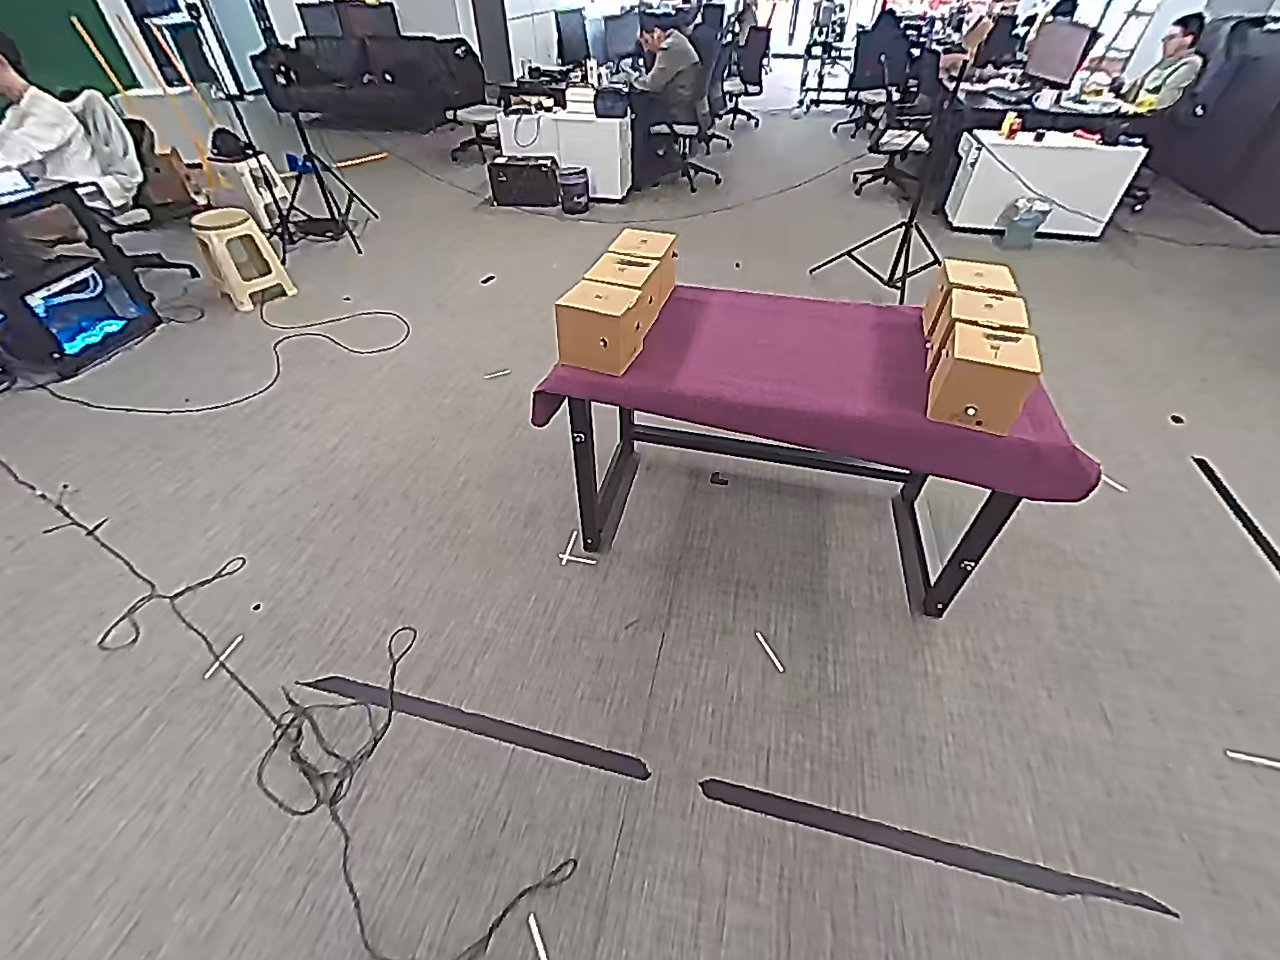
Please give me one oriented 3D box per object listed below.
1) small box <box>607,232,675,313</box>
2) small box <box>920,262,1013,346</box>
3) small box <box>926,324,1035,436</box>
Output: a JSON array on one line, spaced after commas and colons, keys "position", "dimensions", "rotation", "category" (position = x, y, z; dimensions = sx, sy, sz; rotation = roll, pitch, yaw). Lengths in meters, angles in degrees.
[{"position": [0.004, -0.637, 1.658], "dimensions": [0.168, 0.176, 0.179], "rotation": [12, 46, 12], "category": "small box"}, {"position": [0.897, -0.483, 1.506], "dimensions": [0.168, 0.176, 0.179], "rotation": [13, 44, 12], "category": "small box"}, {"position": [0.776, -0.230, 1.241], "dimensions": [0.168, 0.176, 0.179], "rotation": [16, 50, 20], "category": "small box"}]
